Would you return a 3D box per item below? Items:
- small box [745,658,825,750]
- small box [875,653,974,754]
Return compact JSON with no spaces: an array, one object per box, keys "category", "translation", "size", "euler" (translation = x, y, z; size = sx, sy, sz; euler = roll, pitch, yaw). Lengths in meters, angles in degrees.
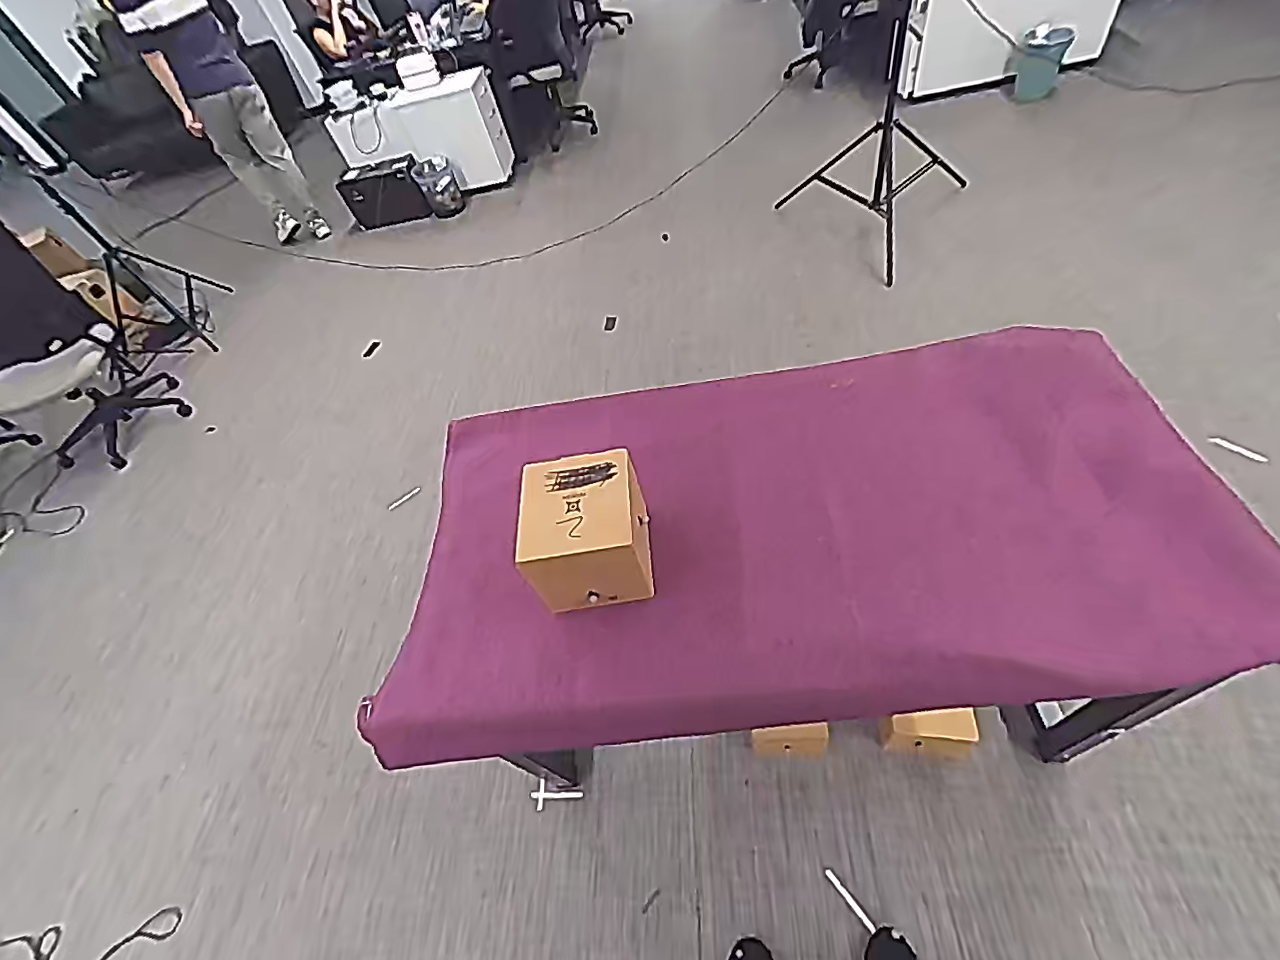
[{"category":"small box","translation":[0.349,0.548,1.312],"size":[0.168,0.176,0.179],"euler":[-5,51,10]},{"category":"small box","translation":[0.652,0.523,1.258],"size":[0.168,0.176,0.179],"euler":[0,52,15]}]
